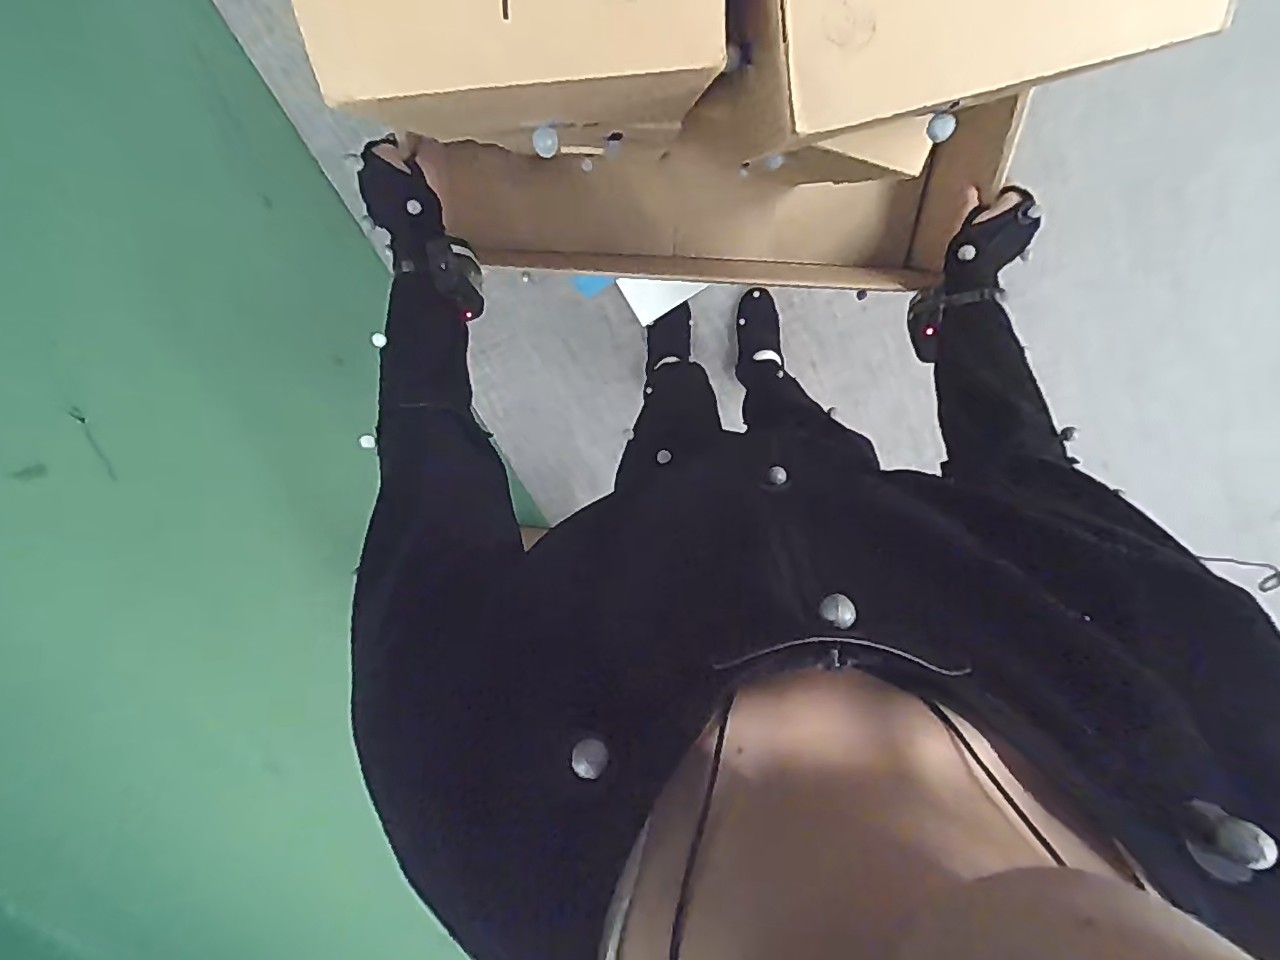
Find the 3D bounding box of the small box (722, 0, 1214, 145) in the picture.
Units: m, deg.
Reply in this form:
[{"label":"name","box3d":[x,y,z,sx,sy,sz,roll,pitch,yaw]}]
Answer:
[{"label":"small box","box3d":[0.129,-0.278,0.259,0.179,0.176,0.168,-10,116,7]}]
